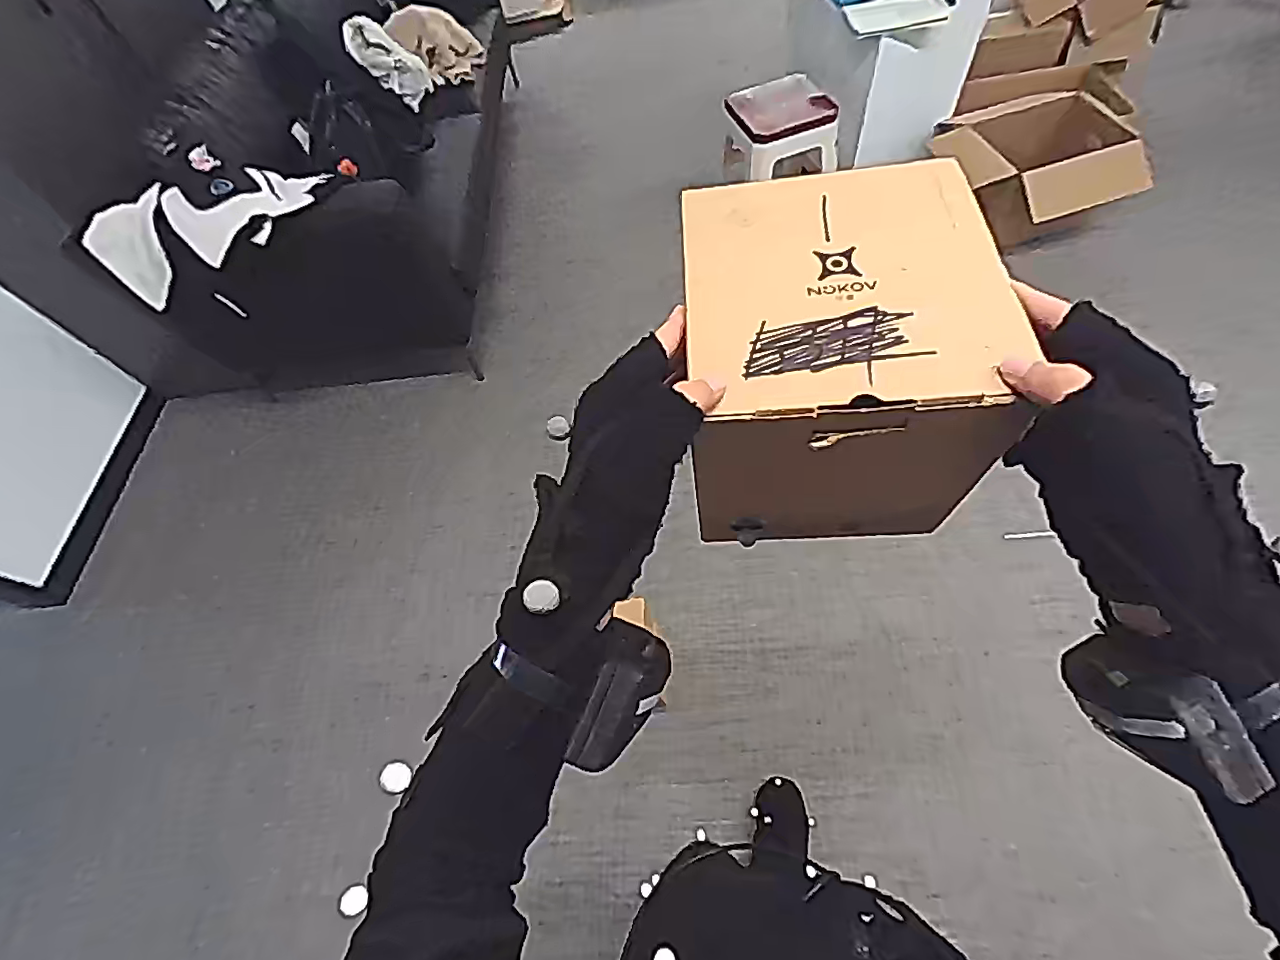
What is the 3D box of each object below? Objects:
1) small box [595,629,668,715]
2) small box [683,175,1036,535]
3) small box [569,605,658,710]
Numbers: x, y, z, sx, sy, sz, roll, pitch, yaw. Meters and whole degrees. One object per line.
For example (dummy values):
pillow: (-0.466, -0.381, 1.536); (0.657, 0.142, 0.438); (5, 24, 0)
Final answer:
small box: (-0.030, 0.470, 1.310); (0.179, 0.176, 0.168); (-5, 59, 6)
small box: (0.119, -0.068, 0.371); (0.168, 0.176, 0.179); (-3, 61, 7)
small box: (-0.052, 0.387, 1.170); (0.168, 0.176, 0.179); (-6, 58, 6)
